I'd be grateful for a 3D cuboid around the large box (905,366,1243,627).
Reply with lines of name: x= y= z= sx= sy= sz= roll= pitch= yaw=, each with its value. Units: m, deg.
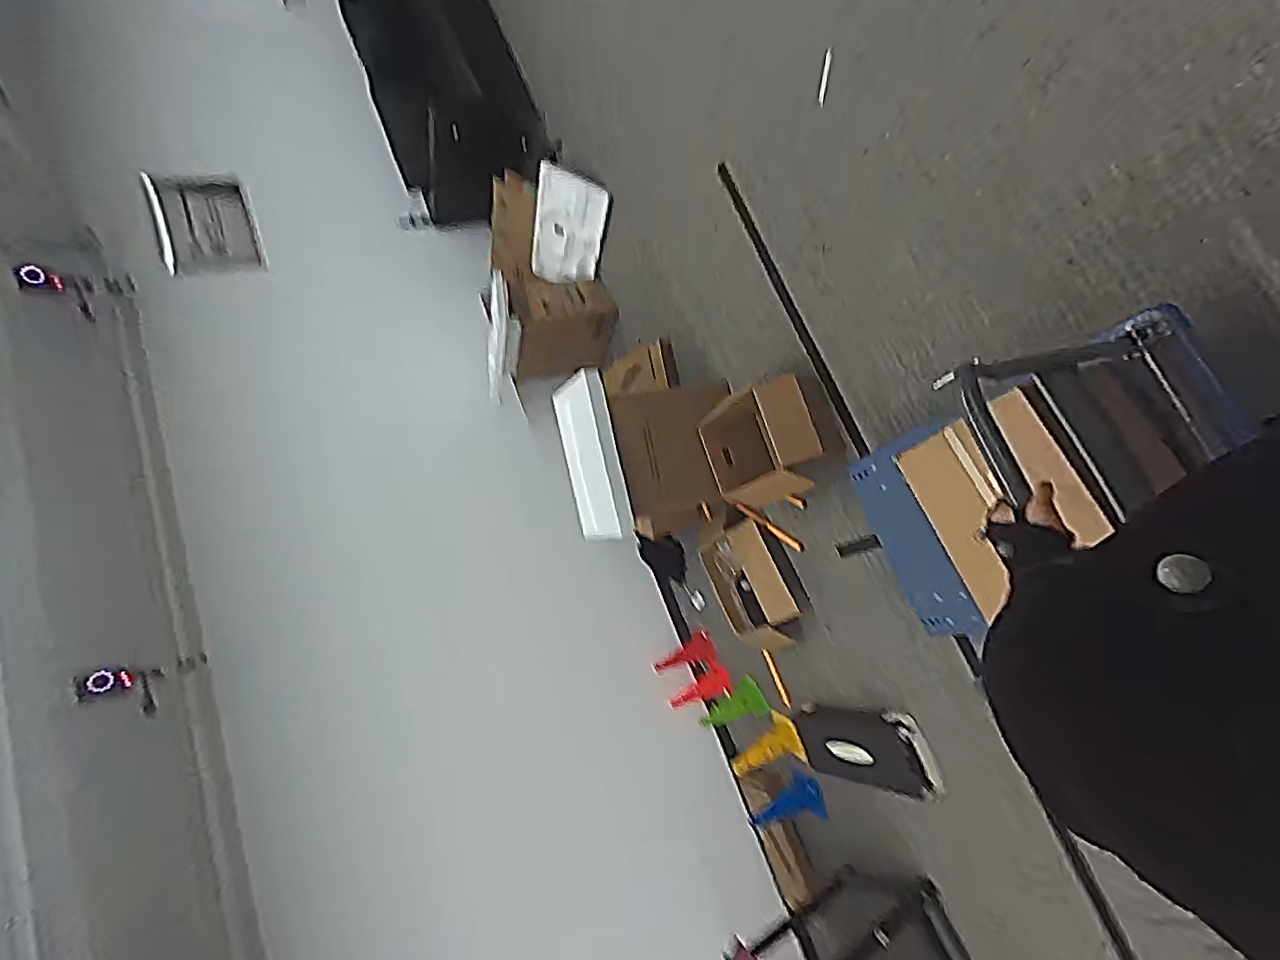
large box: x=0.849 y=0.035 z=1.100 sx=0.408 sy=0.320 sz=0.320 roll=68 pitch=153 yaw=17
